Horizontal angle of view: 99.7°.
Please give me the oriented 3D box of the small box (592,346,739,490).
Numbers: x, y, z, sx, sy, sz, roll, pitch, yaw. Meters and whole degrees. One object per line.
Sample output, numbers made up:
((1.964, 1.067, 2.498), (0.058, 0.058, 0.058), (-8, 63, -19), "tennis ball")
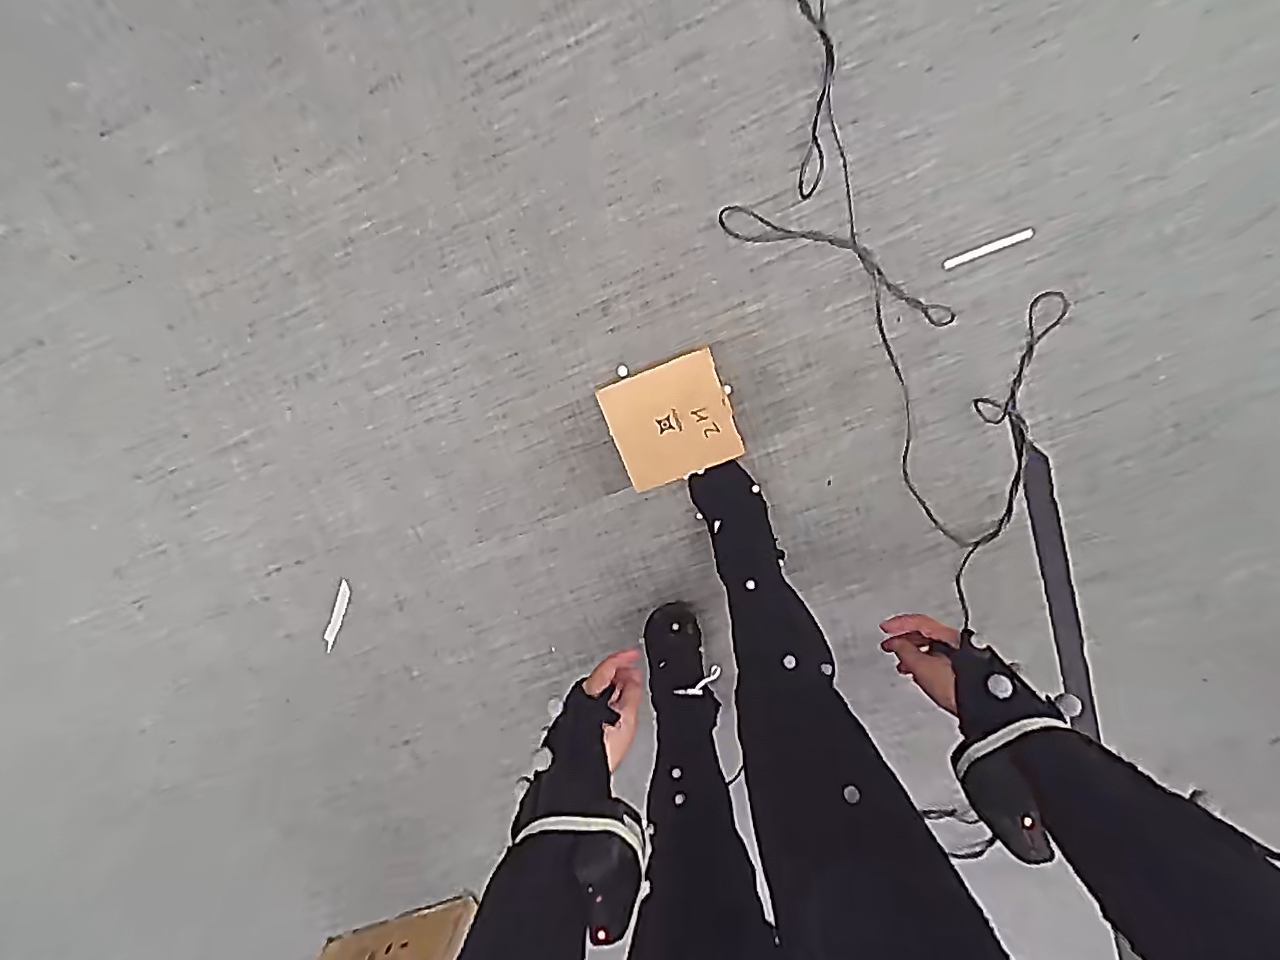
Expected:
((0.042, -0.104, 0.858), (0.179, 0.176, 0.168), (-20, 105, 8), "small box")
